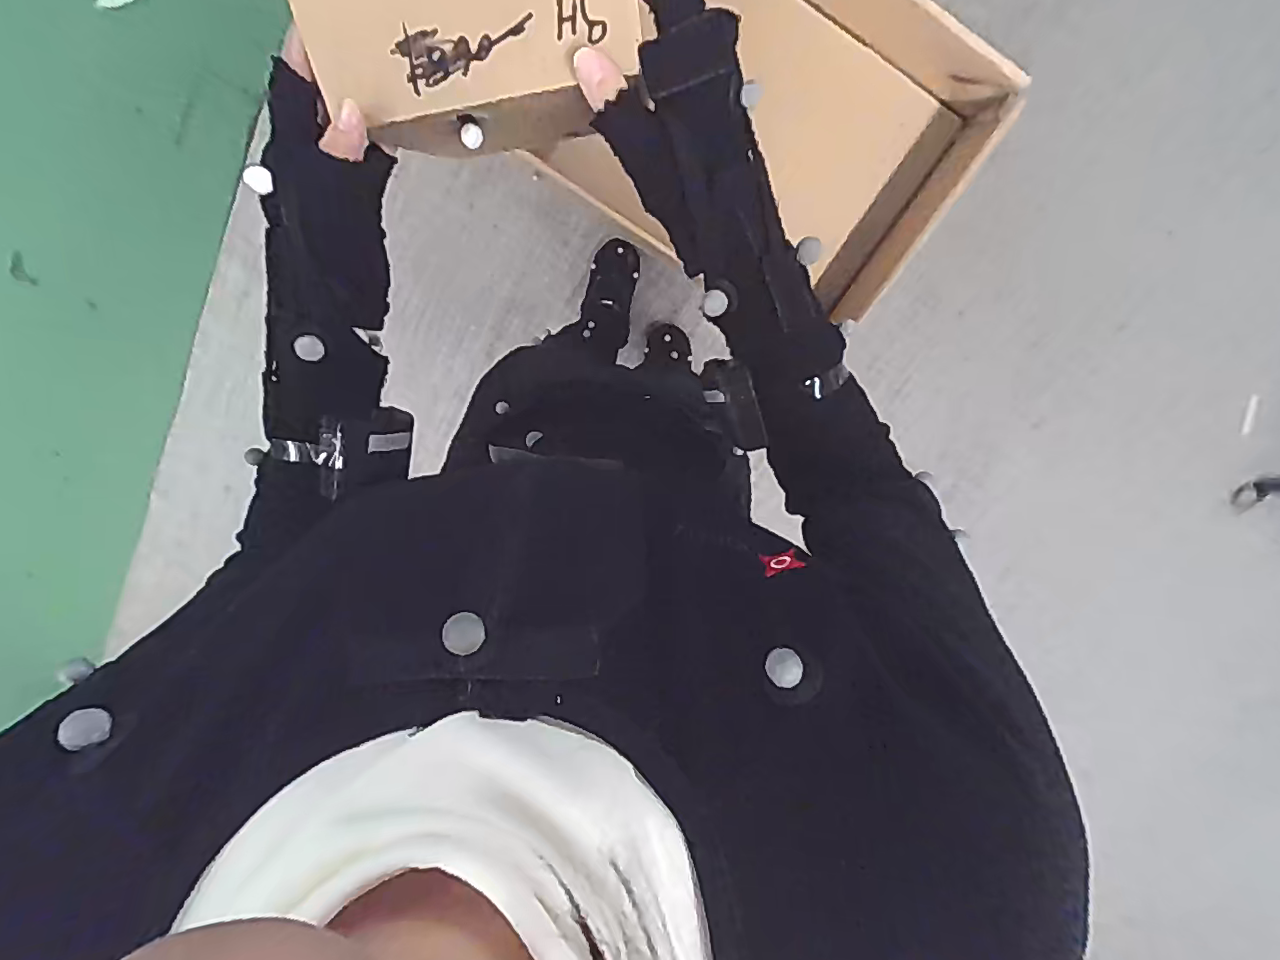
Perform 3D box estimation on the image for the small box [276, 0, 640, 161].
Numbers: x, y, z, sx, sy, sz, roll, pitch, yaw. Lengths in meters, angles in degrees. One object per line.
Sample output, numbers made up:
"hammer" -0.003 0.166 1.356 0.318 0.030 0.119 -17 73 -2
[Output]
"small box" -0.095 -0.303 0.309 0.168 0.176 0.179 -7 115 7
